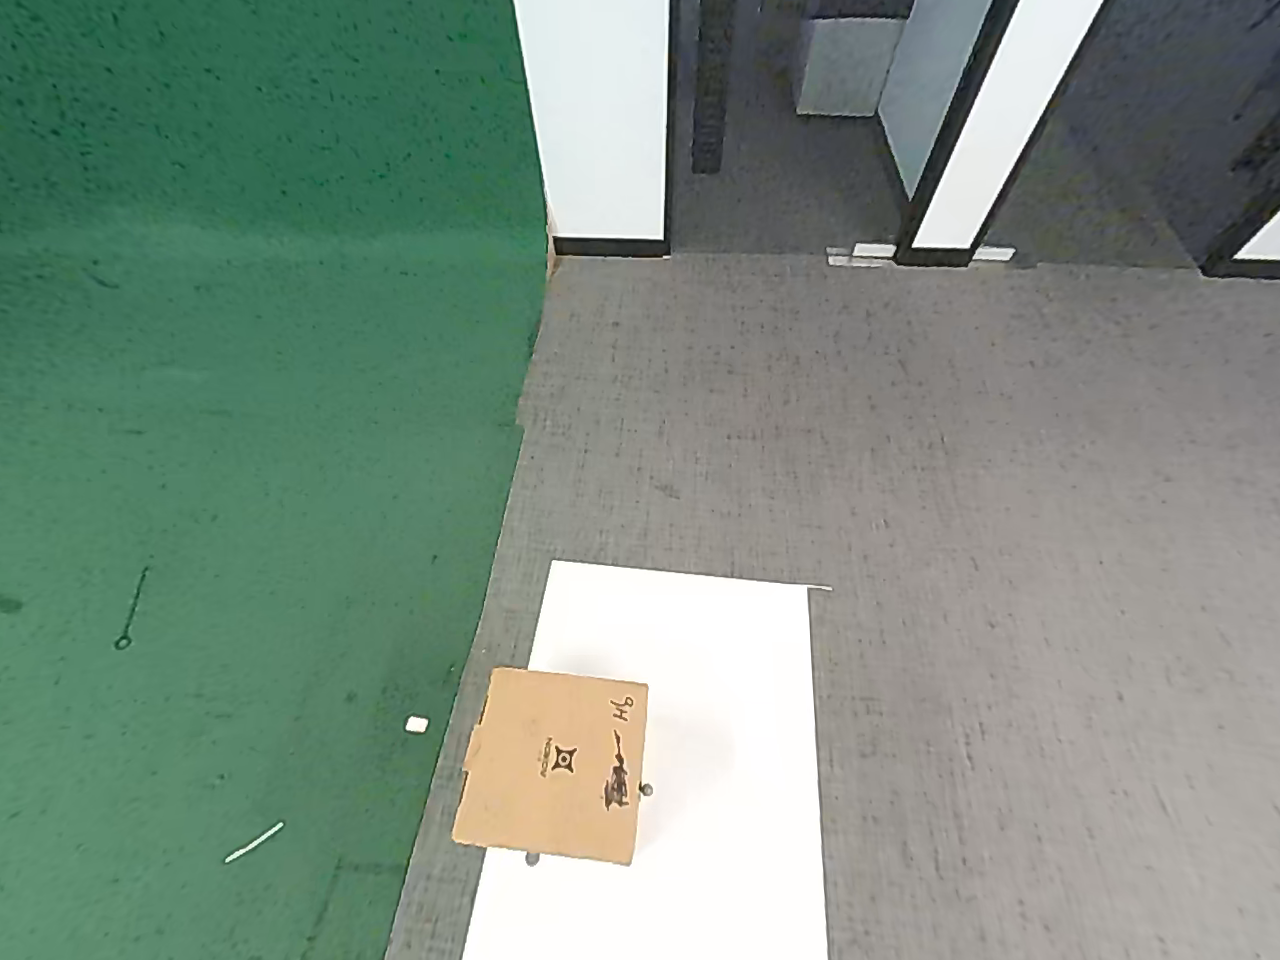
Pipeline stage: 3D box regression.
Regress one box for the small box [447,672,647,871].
[{"bbox_3d":[-0.087,0.331,0.614,0.179,0.176,0.168,5,57,4],"label":"small box"}]
